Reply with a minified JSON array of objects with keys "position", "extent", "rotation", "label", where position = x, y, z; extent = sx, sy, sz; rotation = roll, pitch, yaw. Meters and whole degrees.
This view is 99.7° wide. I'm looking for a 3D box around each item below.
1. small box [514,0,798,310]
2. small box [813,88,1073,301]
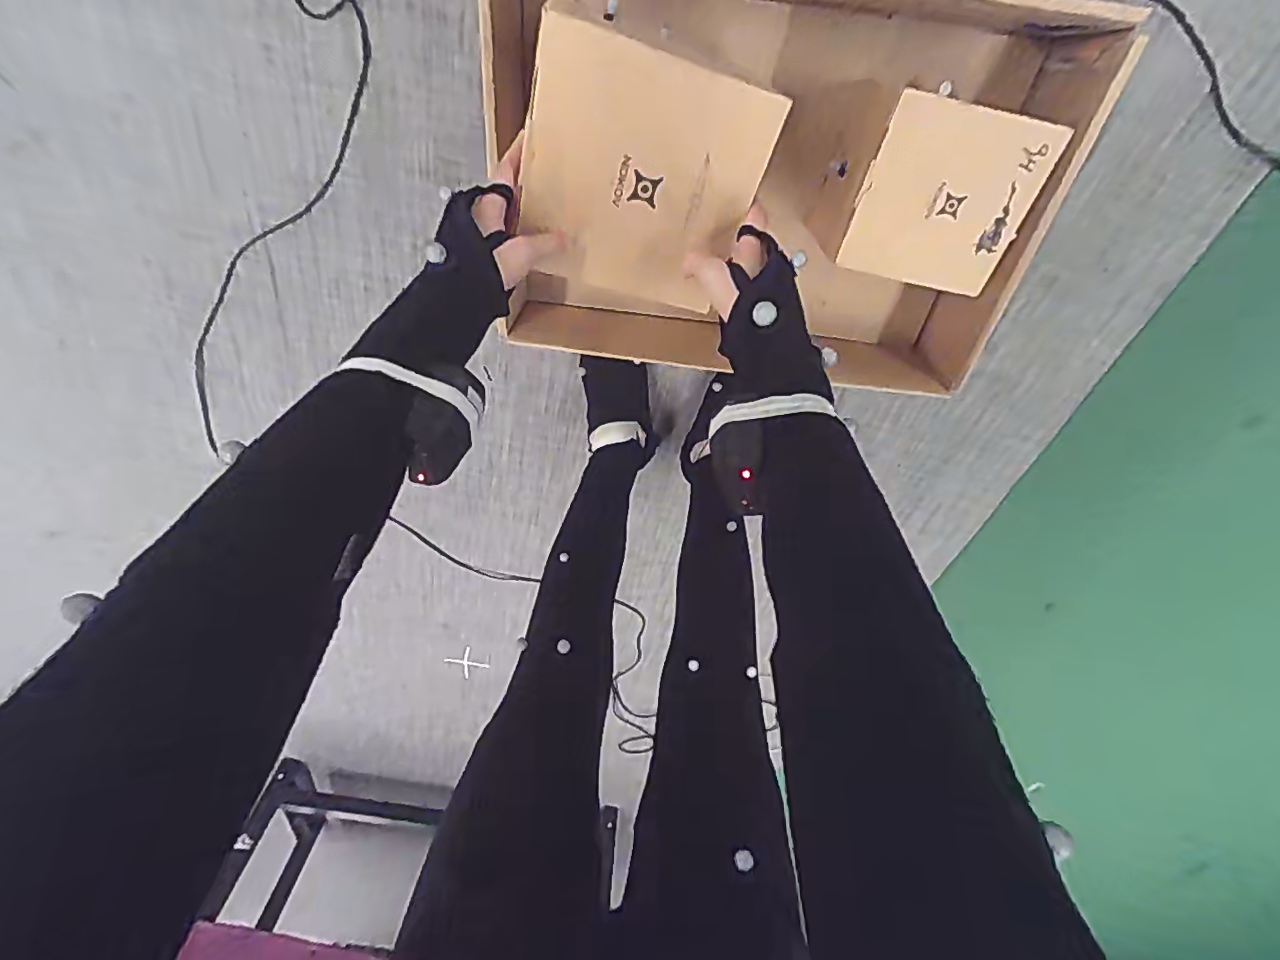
[{"position":[0.000,-0.277,0.464],"extent":[0.179,0.176,0.168],"rotation":[11,131,-15],"label":"small box"},{"position":[0.319,-0.330,0.621],"extent":[0.179,0.176,0.168],"rotation":[12,127,-5],"label":"small box"}]
